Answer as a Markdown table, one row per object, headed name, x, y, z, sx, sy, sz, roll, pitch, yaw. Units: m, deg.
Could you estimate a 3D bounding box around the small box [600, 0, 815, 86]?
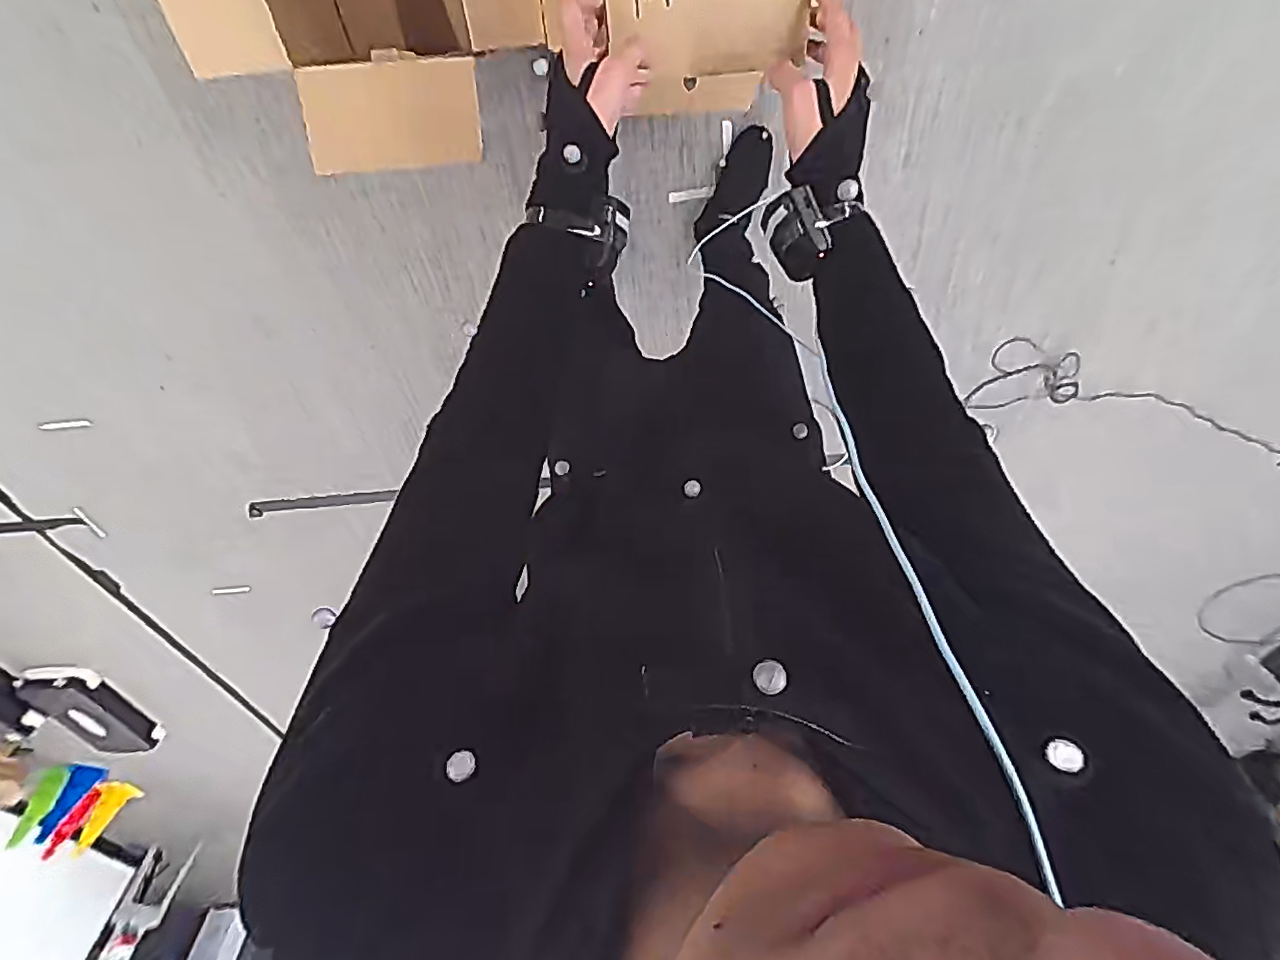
| name | x | y | z | sx | sy | sz | roll | pitch | yaw |
| --- | --- | --- | --- | --- | --- | --- | --- | --- | --- |
| small box | 0.055 | -0.464 | 0.478 | 0.179 | 0.176 | 0.168 | -3 | 134 | 2 |
